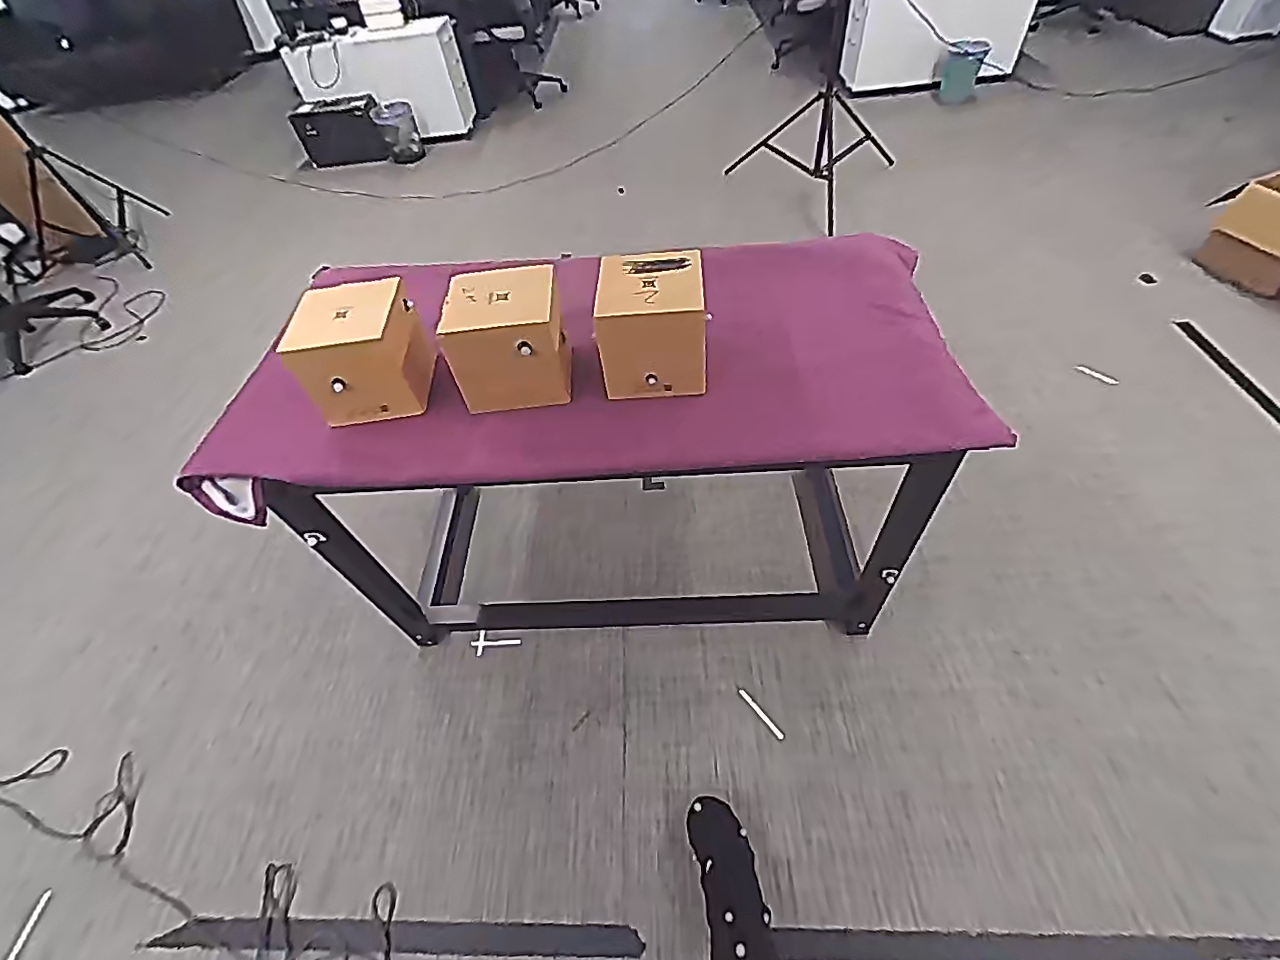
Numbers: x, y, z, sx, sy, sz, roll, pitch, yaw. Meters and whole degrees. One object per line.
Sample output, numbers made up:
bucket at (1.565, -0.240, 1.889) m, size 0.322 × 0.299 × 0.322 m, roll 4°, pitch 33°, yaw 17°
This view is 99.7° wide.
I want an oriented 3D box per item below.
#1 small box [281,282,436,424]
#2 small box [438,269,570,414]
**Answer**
small box at (-0.472, -0.213, 0.939) m, size 0.168 × 0.176 × 0.179 m, roll -9°, pitch 50°, yaw 0°
small box at (-0.217, -0.232, 0.920) m, size 0.179 × 0.176 × 0.168 m, roll -6°, pitch 50°, yaw 1°
